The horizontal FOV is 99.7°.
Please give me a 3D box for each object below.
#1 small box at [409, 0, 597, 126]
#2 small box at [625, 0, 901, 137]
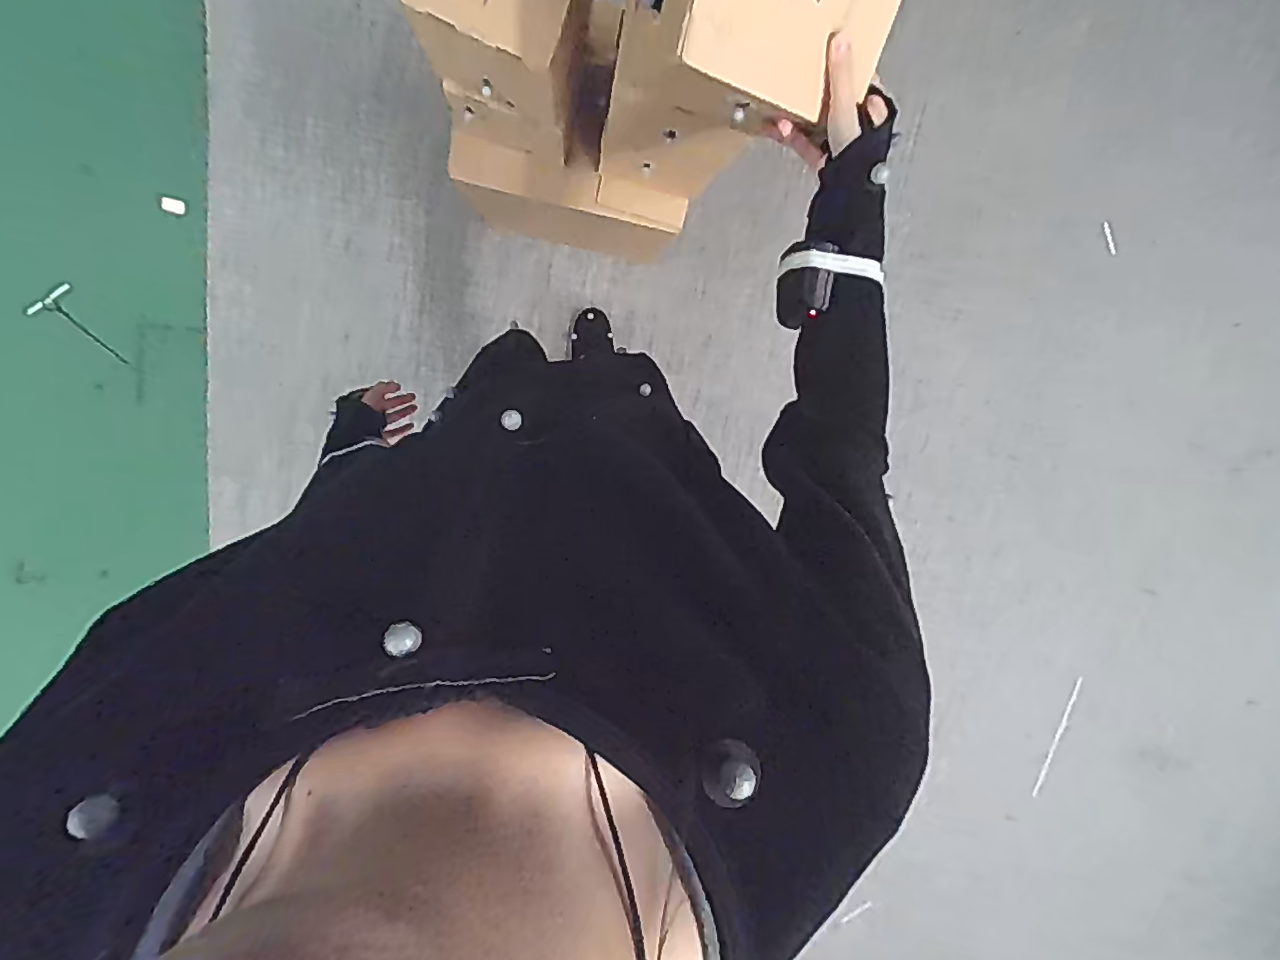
[{"bbox_3d":[-0.148,-0.569,0.638,0.168,0.176,0.179,19,102,-11],"label":"small box"},{"bbox_3d":[0.103,-0.420,0.475,0.179,0.176,0.168,5,119,-24],"label":"small box"}]
